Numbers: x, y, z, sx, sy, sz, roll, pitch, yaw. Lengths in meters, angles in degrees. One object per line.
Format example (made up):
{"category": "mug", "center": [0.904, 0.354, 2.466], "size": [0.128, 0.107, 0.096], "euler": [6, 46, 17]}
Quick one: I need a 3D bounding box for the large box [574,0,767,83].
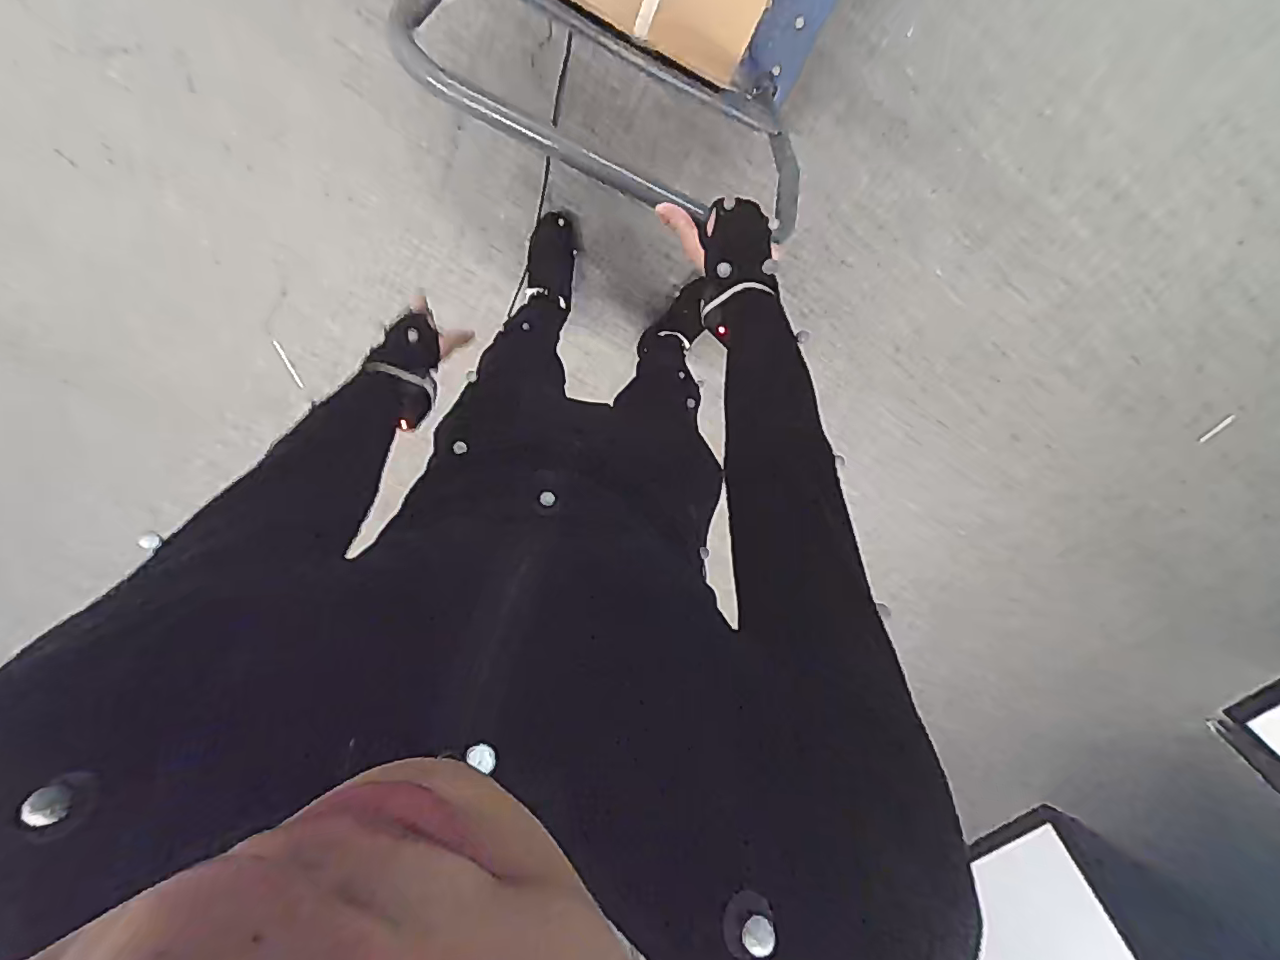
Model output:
{"category": "large box", "center": [0.090, -0.911, 0.819], "size": [0.320, 0.320, 0.408], "euler": [21, 130, -13]}
